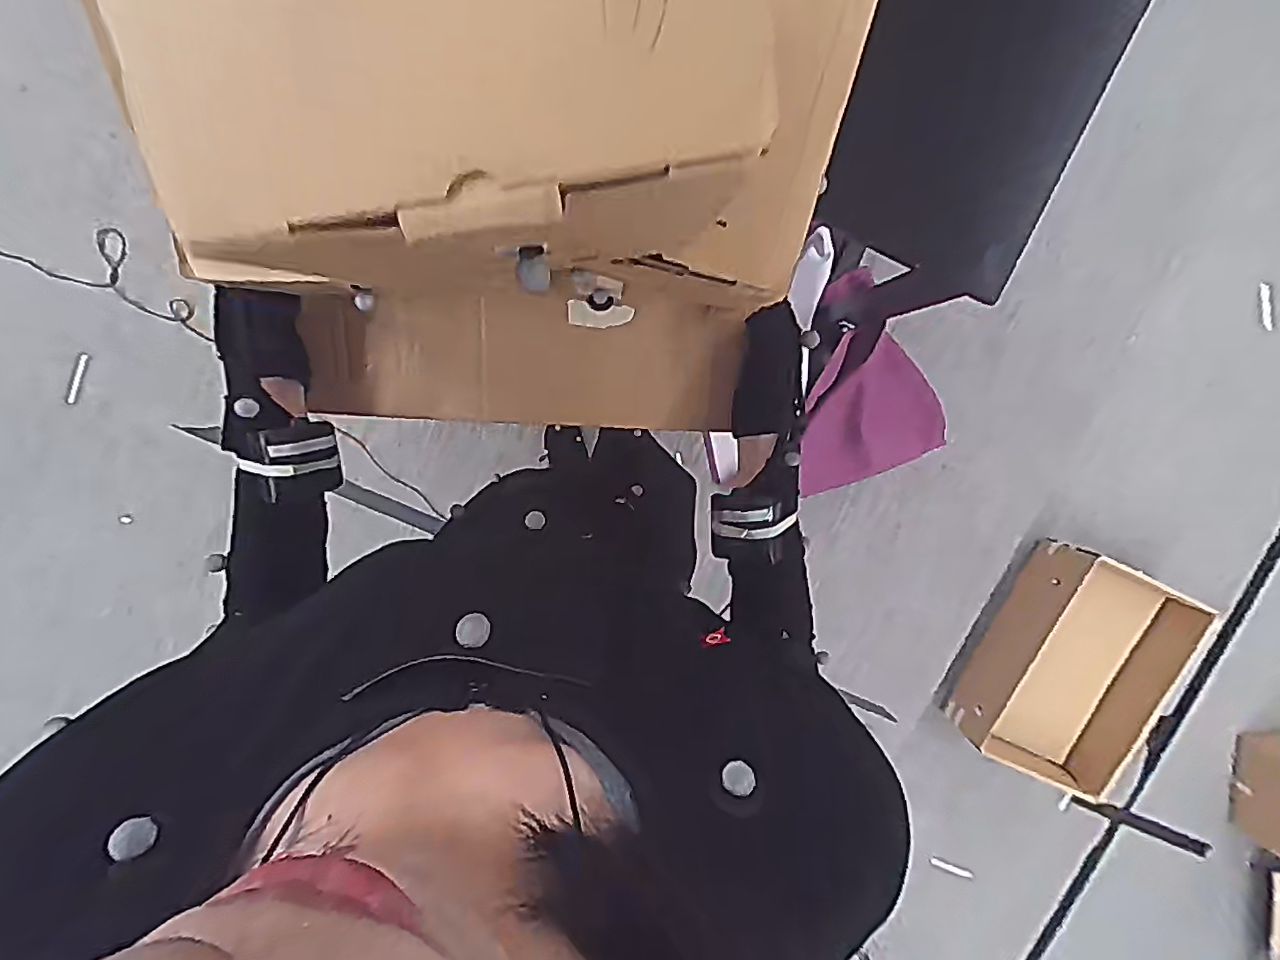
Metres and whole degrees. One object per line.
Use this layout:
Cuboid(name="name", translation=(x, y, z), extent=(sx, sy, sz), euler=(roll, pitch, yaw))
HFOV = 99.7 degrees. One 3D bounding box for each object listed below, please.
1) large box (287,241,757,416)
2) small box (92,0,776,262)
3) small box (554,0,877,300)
Cuboid(name="large box", translation=(-0.103, -0.247, 0.598), extent=(0.408, 0.320, 0.320), euler=(2, 106, -4))
Cuboid(name="small box", translation=(-0.058, -0.183, 0.196), extent=(0.168, 0.176, 0.179), euler=(-9, 106, 0))
Cuboid(name="small box", translation=(0.024, -0.228, 0.356), extent=(0.168, 0.176, 0.179), euler=(14, 103, -6))
